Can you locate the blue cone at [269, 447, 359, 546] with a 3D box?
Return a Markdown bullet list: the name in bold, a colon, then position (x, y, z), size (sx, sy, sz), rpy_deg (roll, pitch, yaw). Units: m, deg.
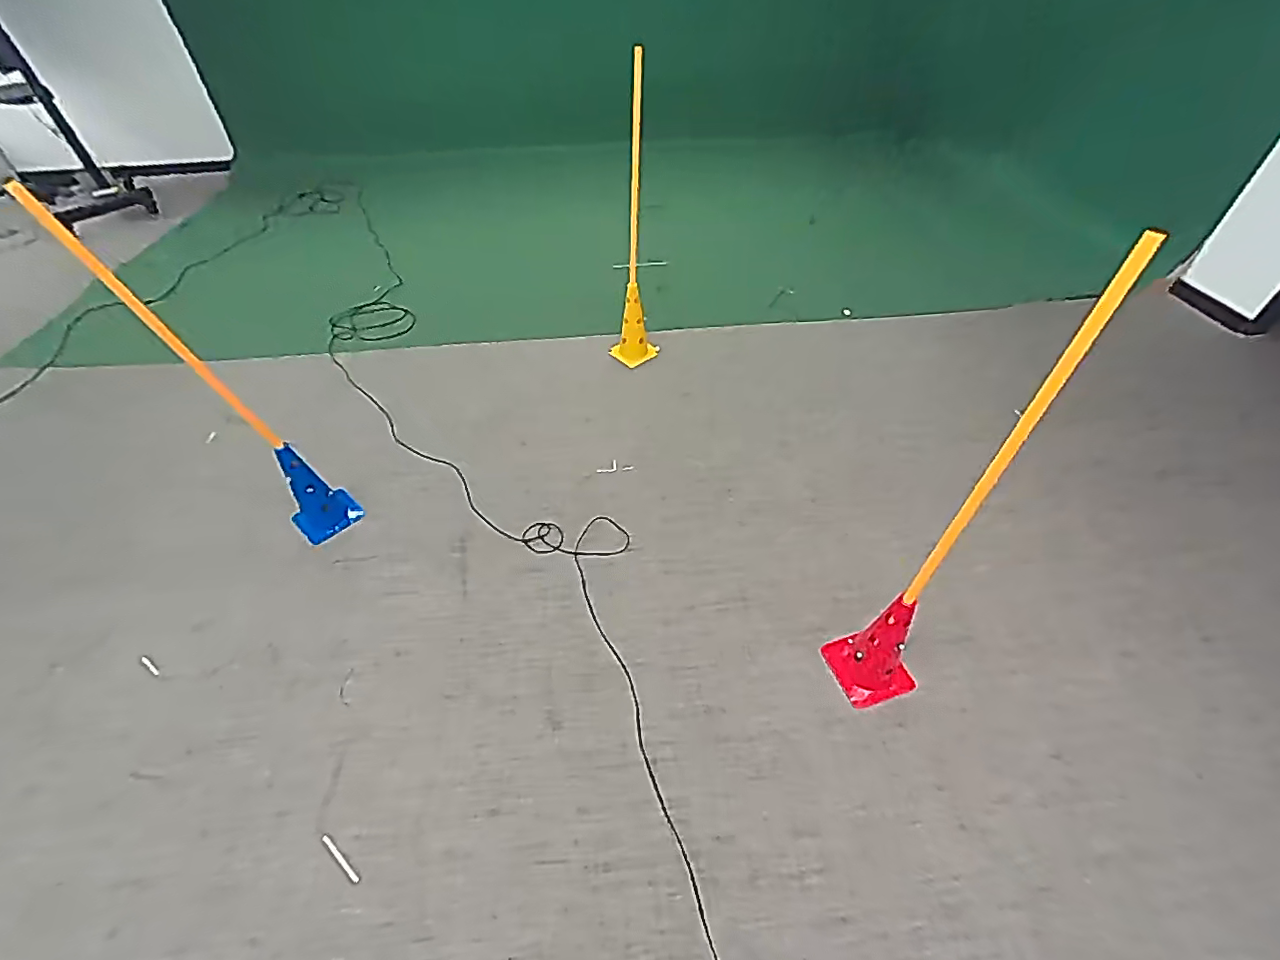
- **blue cone**: position (-1.142, 0.037, 1.841), size (0.192, 0.380, 0.193), rpy_deg (31, 57, 27)
